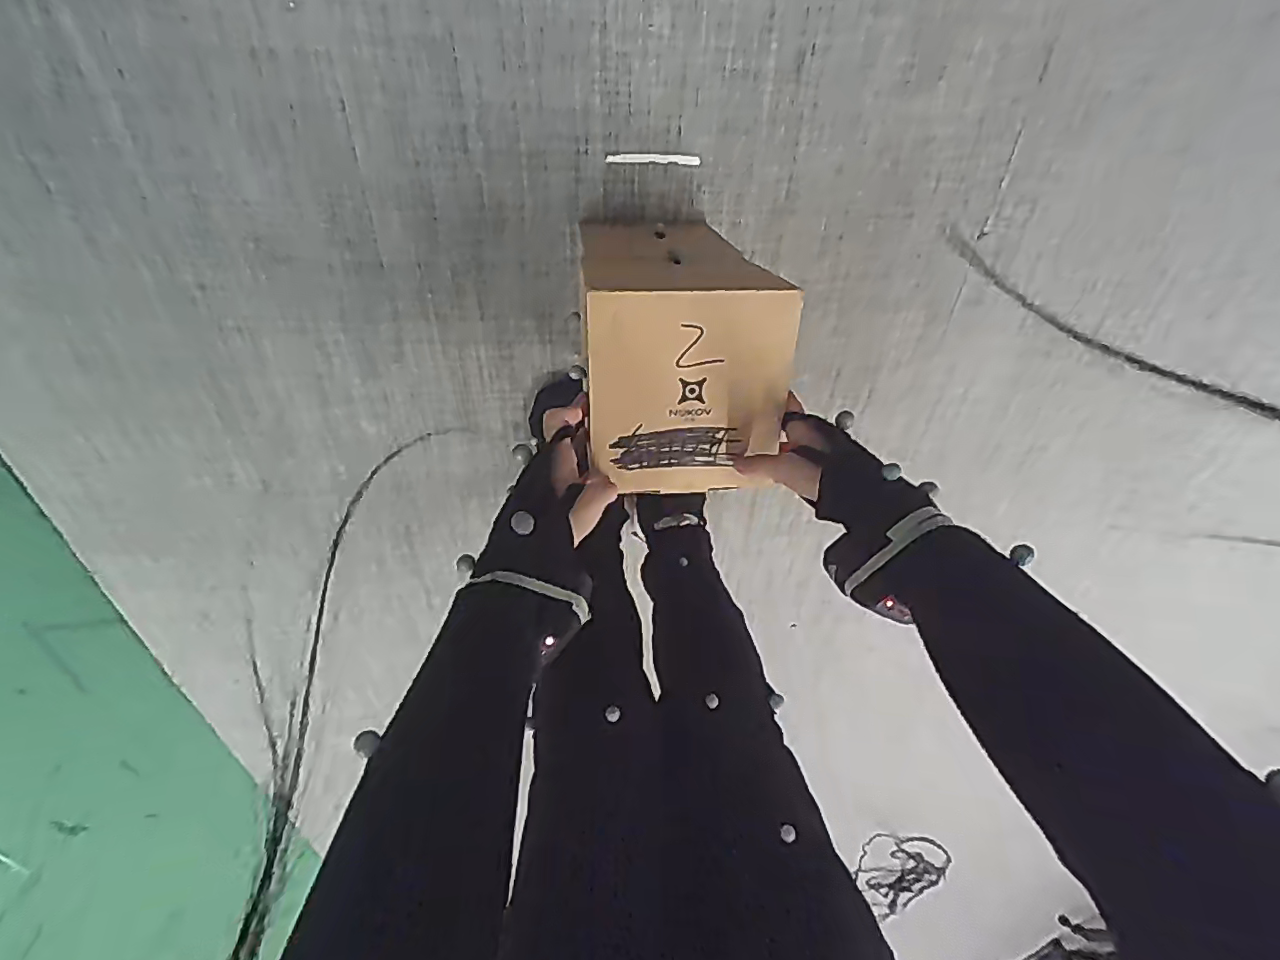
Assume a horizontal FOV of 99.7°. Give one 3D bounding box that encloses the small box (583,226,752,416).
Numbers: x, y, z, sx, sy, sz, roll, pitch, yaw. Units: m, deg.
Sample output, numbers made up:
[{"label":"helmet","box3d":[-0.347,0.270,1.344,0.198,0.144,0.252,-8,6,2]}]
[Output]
[{"label":"small box","box3d":[0.018,-0.192,0.639,0.168,0.176,0.179,-1,126,-7]}]
